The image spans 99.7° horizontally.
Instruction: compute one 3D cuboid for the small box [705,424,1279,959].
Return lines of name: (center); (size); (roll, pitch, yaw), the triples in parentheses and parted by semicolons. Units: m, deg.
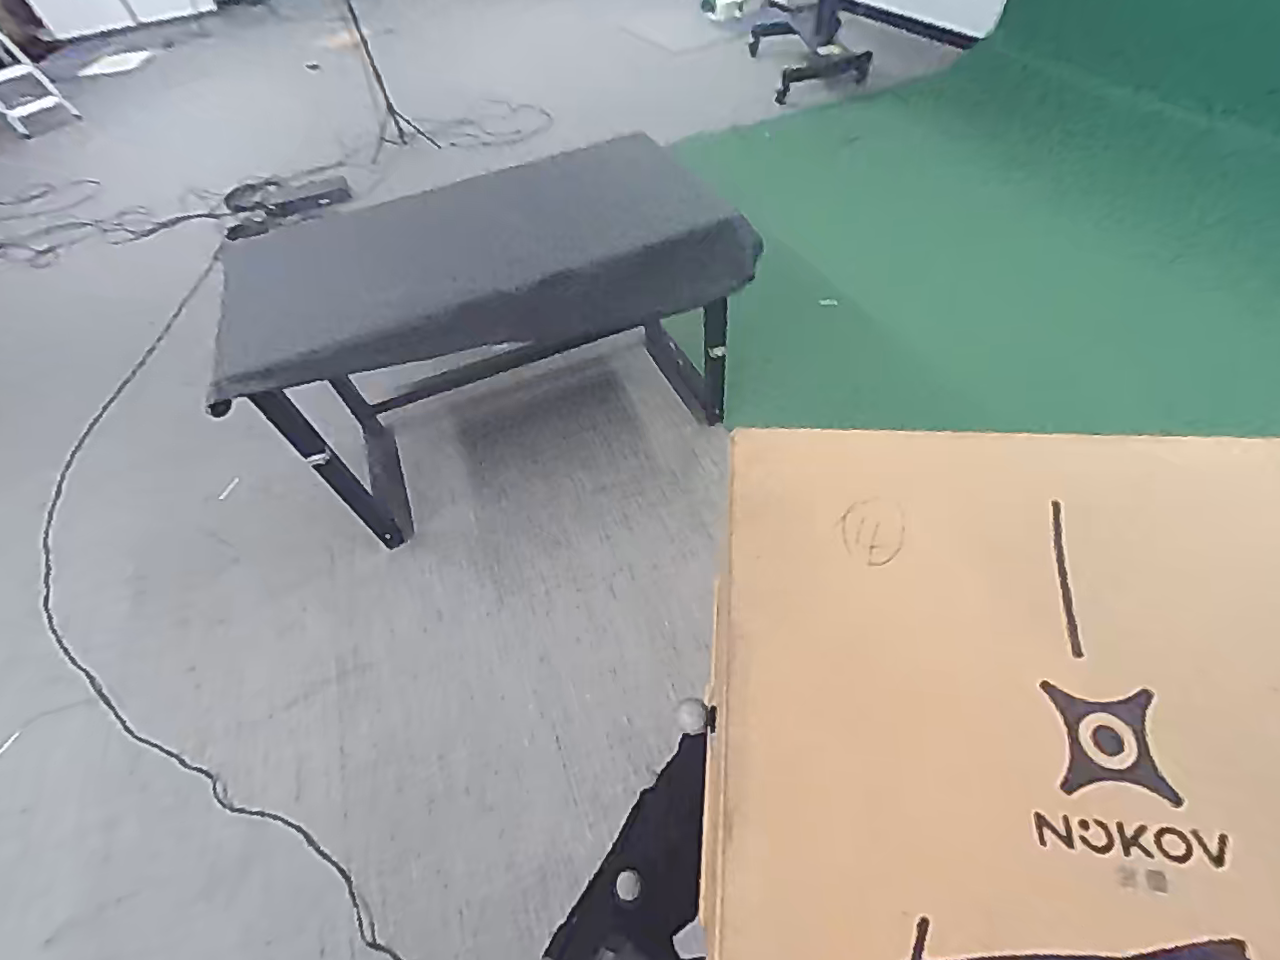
small box: (0.111, 0.097, 0.200); (0.168, 0.176, 0.179); (2, 64, 8)
